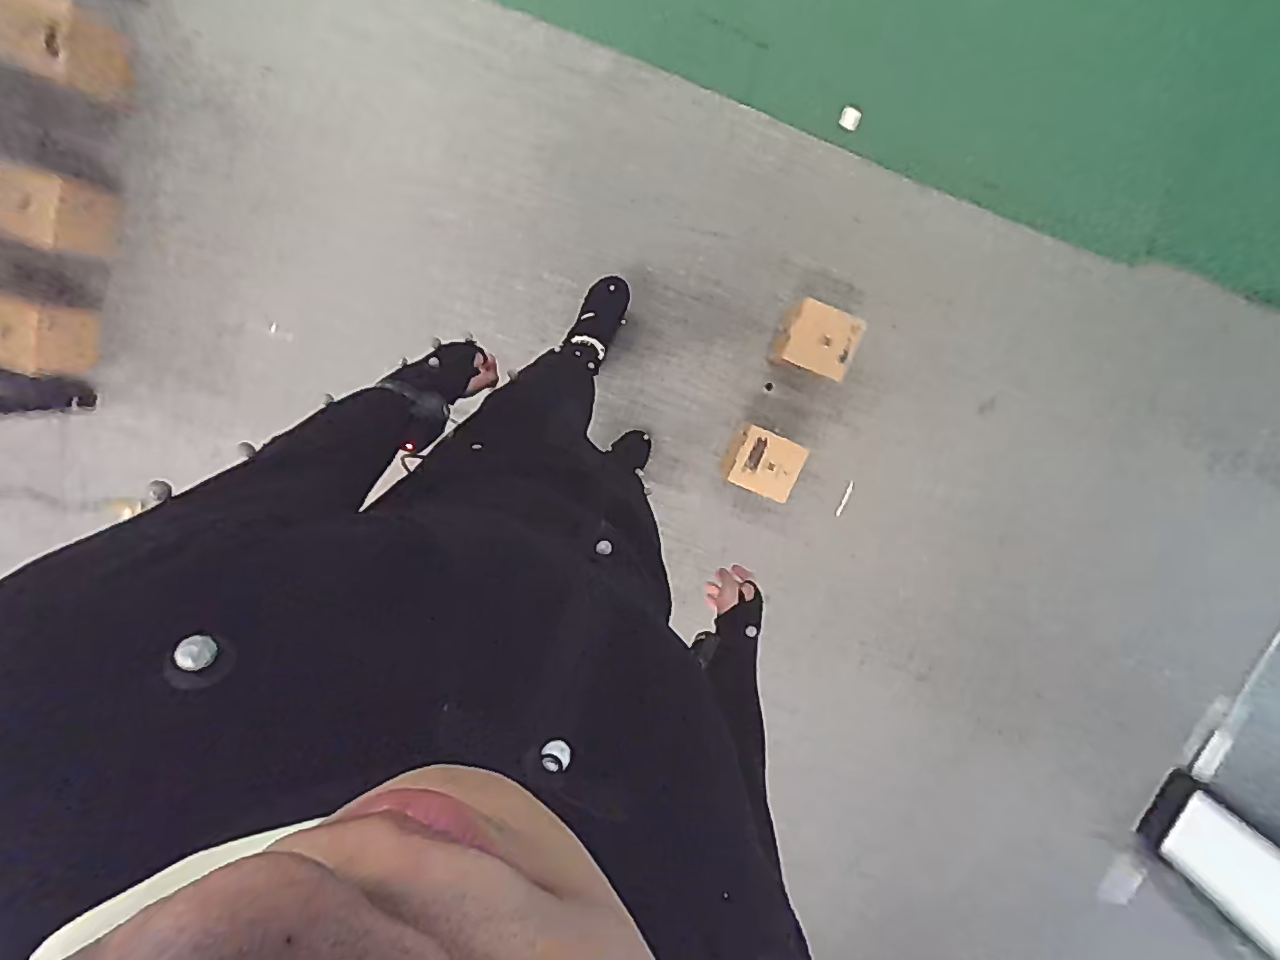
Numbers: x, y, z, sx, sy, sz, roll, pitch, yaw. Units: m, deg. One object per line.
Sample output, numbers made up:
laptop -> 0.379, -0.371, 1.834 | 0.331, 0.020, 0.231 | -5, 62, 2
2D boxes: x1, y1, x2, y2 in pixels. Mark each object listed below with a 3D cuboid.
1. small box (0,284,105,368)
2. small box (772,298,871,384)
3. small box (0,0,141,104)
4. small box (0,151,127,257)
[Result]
small box -> -1.623, -0.414, 1.473 | 0.168, 0.176, 0.179 | 19, 101, -3
small box -> 0.476, -0.366, 1.452 | 0.179, 0.176, 0.168 | 22, 101, -4
small box -> -1.393, -1.069, 1.333 | 0.179, 0.176, 0.168 | 17, 101, -2
small box -> -1.500, -0.708, 1.410 | 0.168, 0.176, 0.179 | 20, 102, -3
